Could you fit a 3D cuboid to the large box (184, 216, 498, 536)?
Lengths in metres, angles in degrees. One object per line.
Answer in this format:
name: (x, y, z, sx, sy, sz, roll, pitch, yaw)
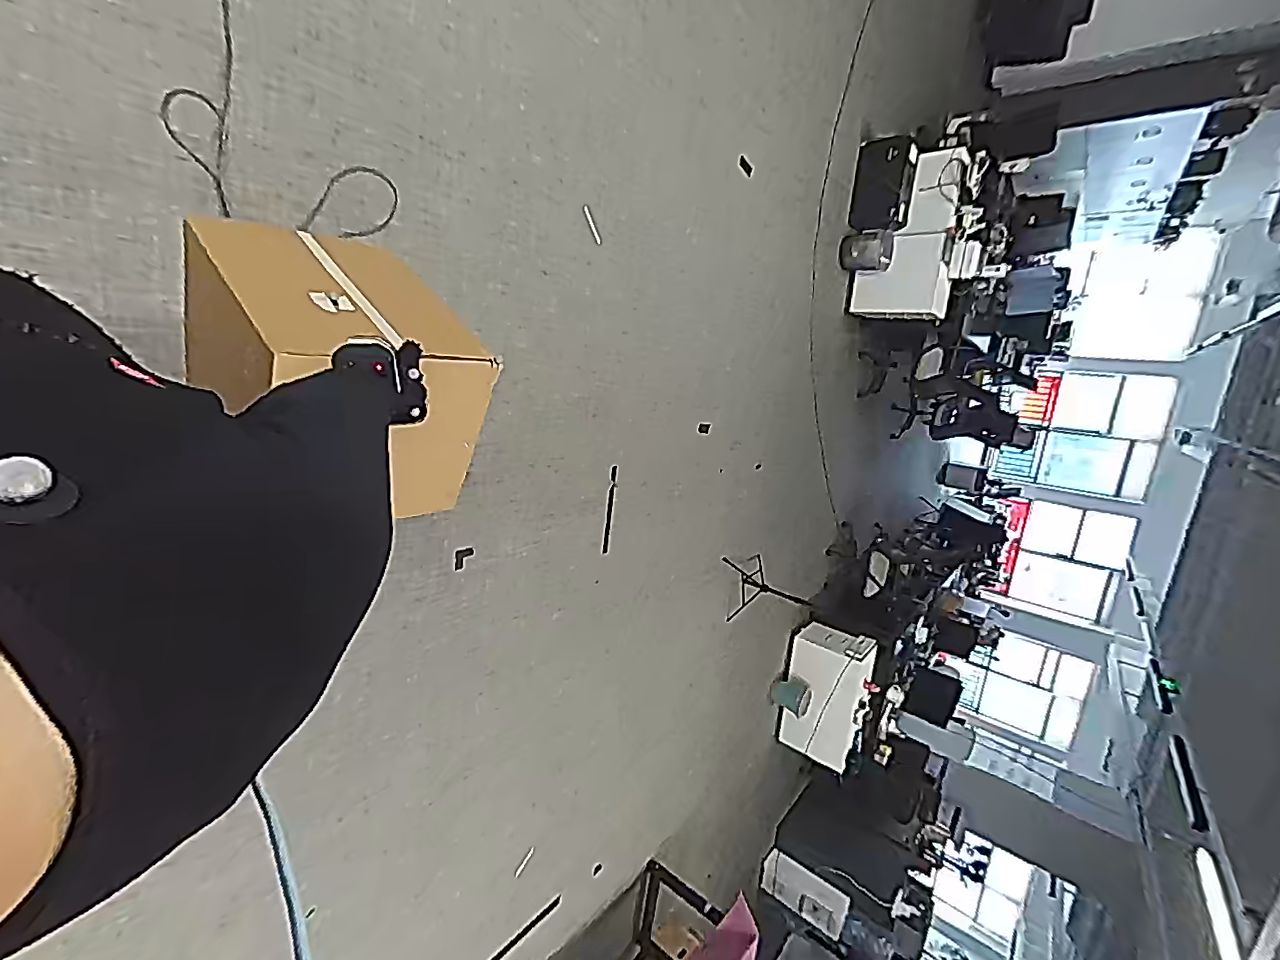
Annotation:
large box: (-0.515, -0.173, 0.909, 0.320, 0.408, 0.320, -13, 140, -49)
